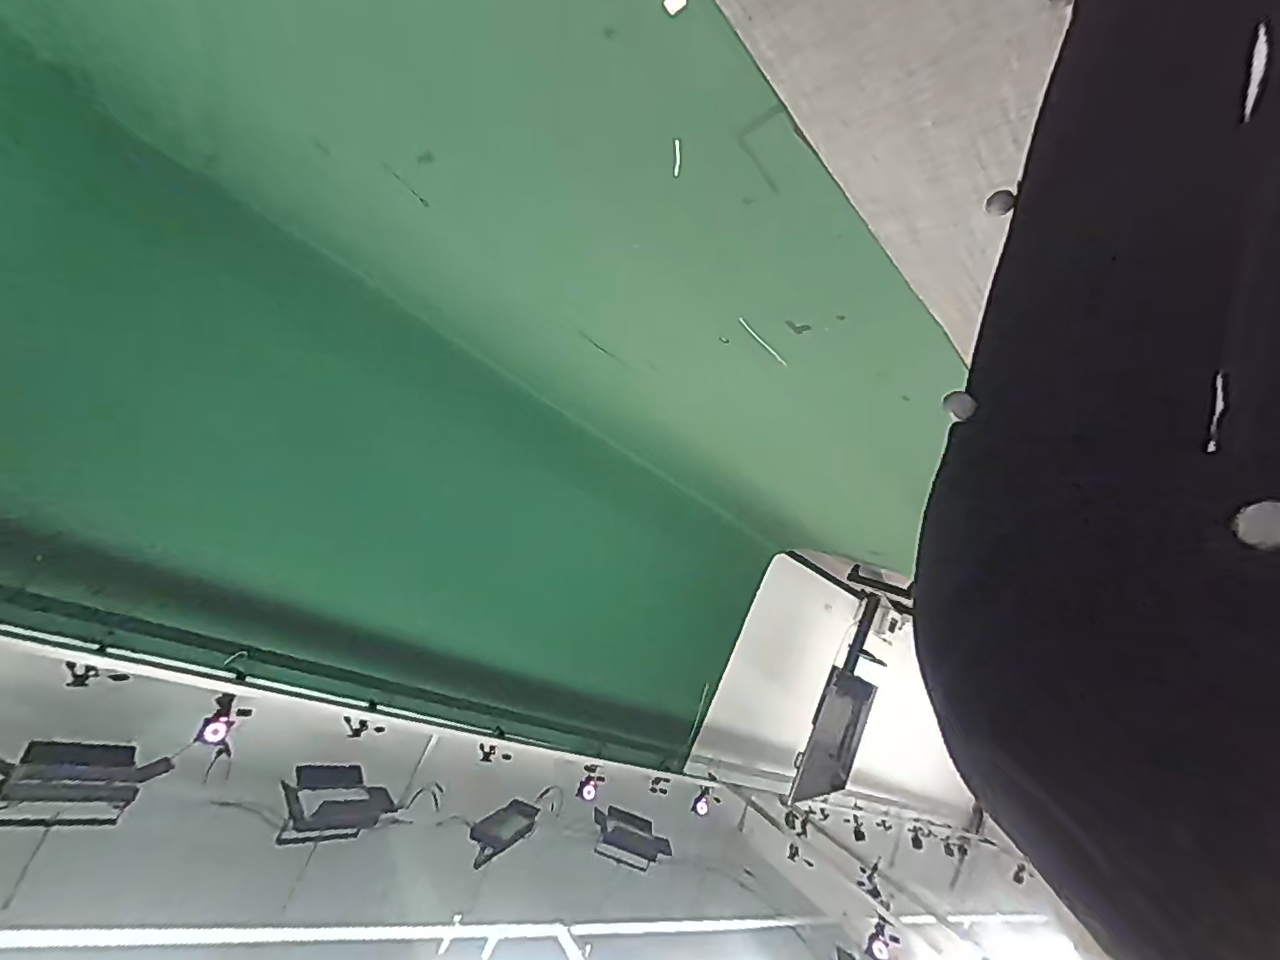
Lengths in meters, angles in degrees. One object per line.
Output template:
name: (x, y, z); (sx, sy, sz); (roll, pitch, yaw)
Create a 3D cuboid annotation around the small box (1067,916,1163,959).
small box: (1.511, 1.533, 1.721); (0.168, 0.176, 0.179); (33, 167, -28)
